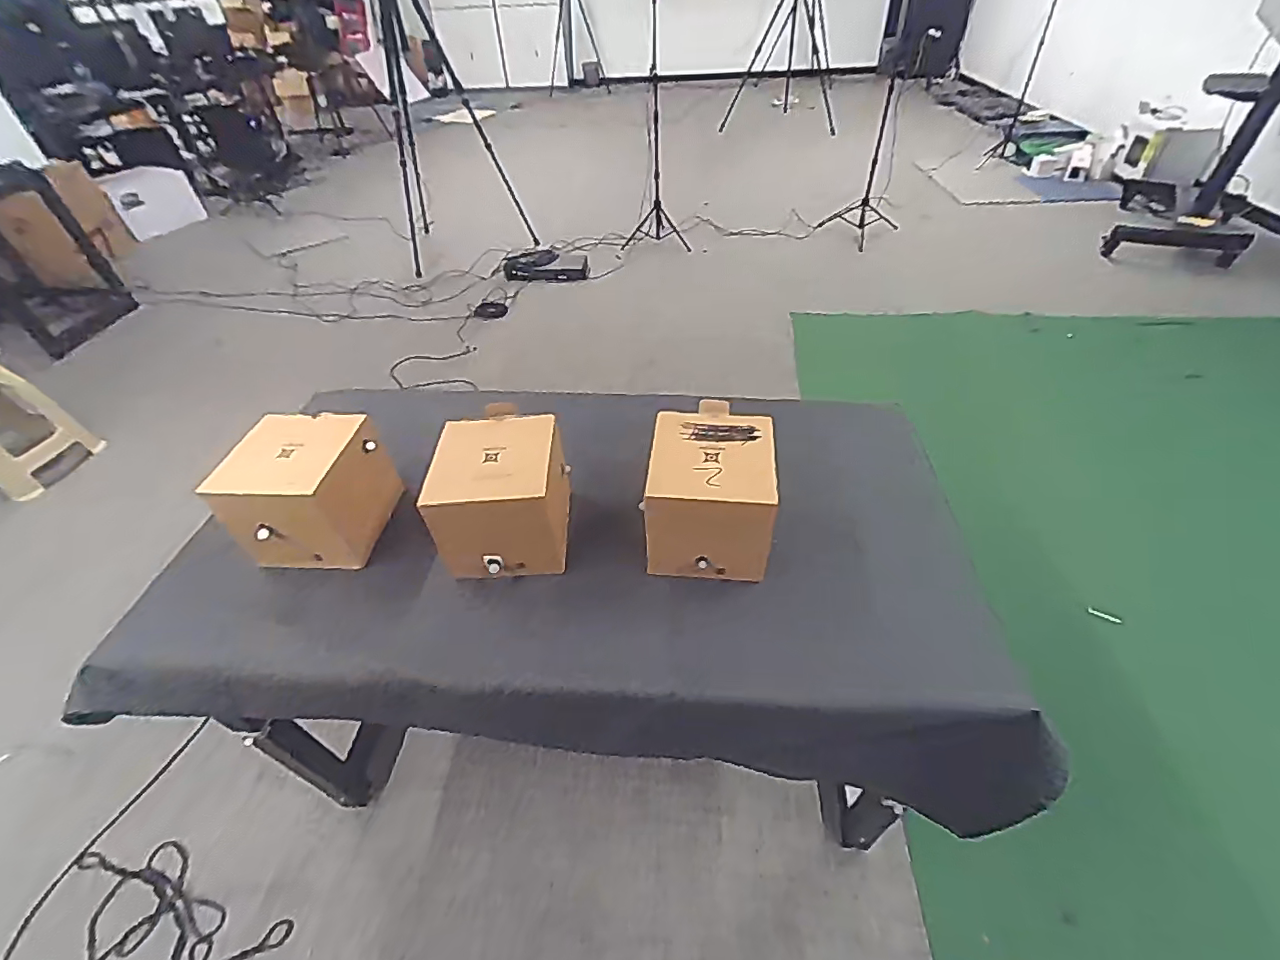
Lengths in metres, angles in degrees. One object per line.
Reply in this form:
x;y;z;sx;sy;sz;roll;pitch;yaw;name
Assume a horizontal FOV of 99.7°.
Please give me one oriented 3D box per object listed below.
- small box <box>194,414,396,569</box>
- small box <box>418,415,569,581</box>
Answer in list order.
-0.498;0.019;0.818;0.168;0.176;0.179;0;43;4;small box
-0.199;0.026;0.795;0.168;0.176;0.179;-5;44;0;small box
